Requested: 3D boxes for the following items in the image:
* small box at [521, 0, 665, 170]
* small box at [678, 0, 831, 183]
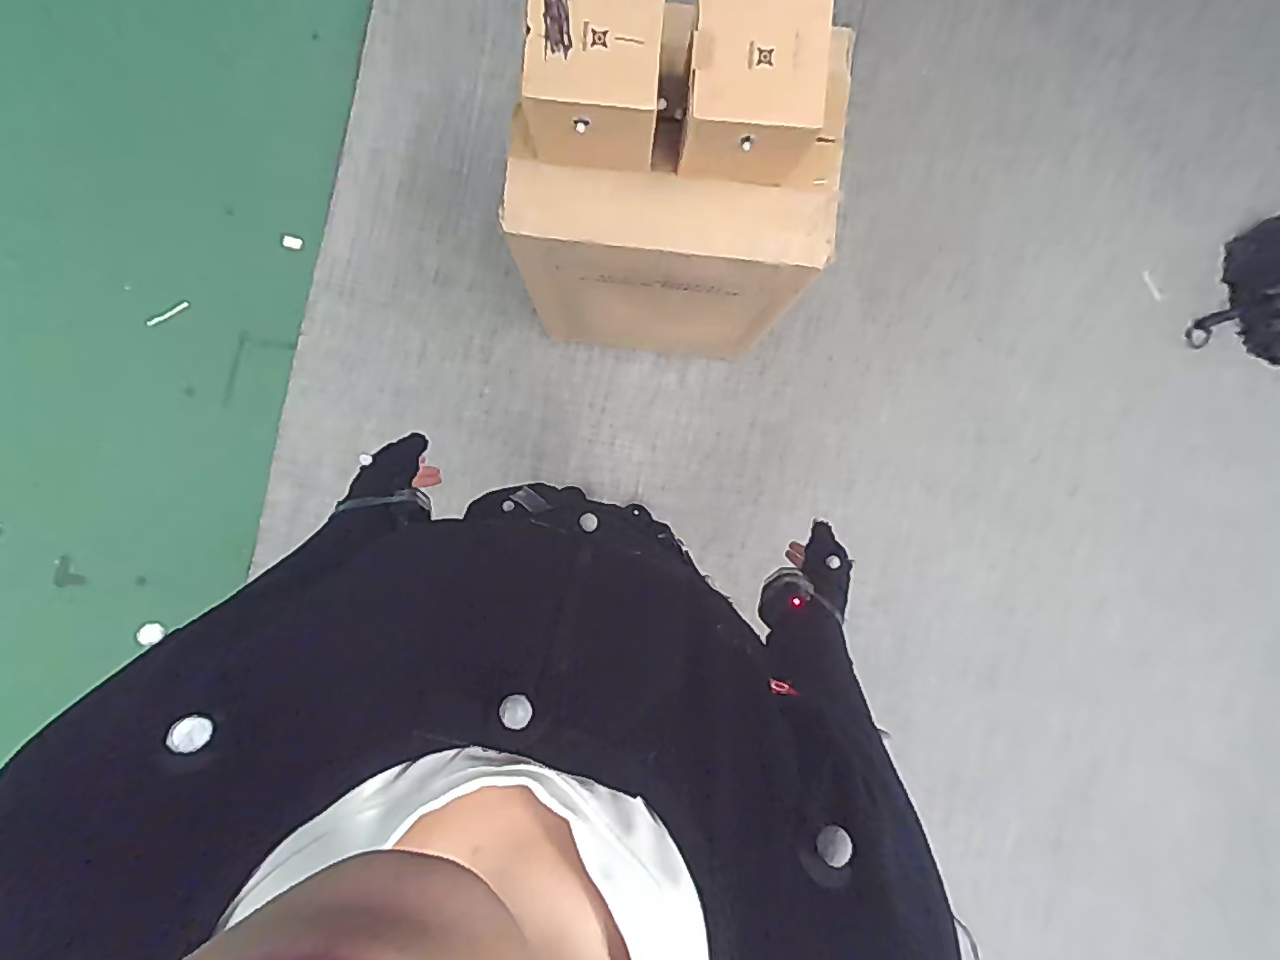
[{"bbox_3d":[-0.062,-0.567,0.766,0.179,0.176,0.168,4,95,-3],"label":"small box"},{"bbox_3d":[0.151,-0.551,0.777,0.179,0.176,0.168,3,96,-4],"label":"small box"}]
